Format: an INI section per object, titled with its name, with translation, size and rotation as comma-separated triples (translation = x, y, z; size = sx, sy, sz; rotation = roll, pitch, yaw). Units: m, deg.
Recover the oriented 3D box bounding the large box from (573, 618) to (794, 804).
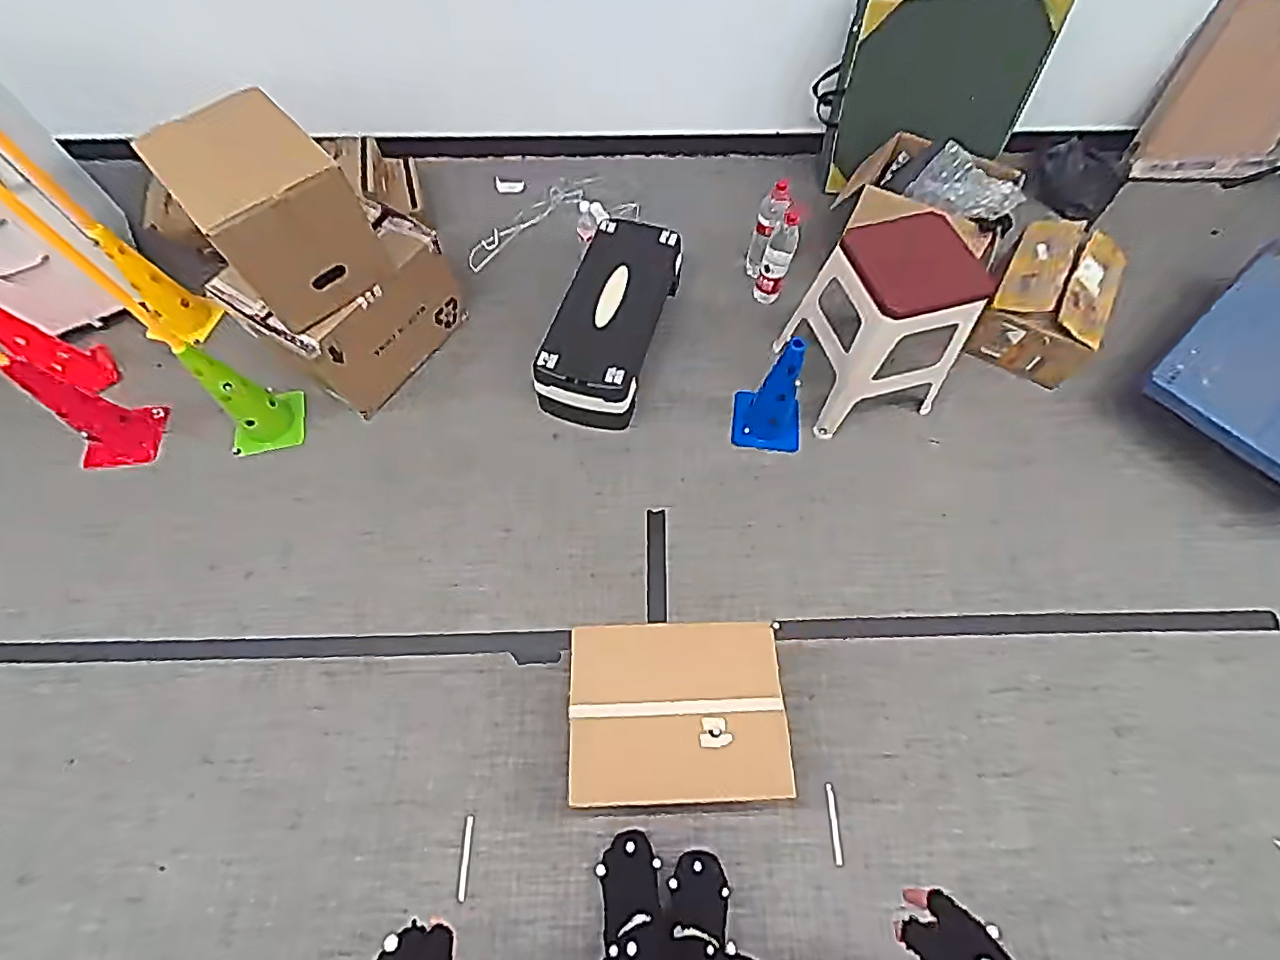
[large box]
translation = 0.068, 0.492, 1.160
size = 0.408, 0.320, 0.320
rotation = -1, 64, -2
